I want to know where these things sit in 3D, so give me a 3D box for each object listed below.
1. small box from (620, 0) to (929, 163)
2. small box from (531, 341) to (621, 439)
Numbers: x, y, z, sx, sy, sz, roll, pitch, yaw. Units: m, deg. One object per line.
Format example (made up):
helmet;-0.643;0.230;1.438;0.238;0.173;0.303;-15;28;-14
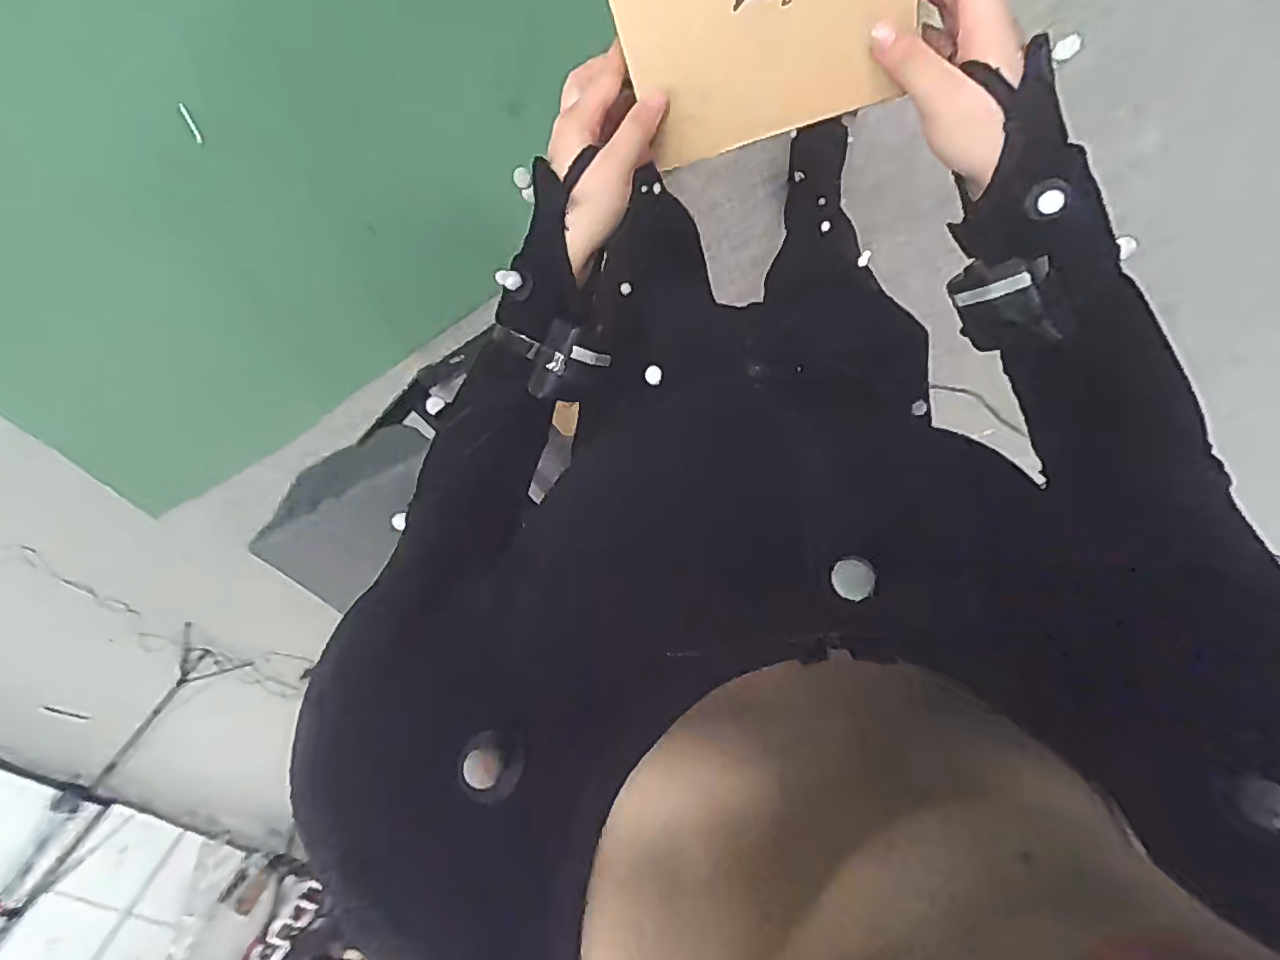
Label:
small box;0.084;-0.349;0.366;0.179;0.176;0.168;-8;134;18
small box;-0.168;-0.251;1.496;0.179;0.176;0.168;-27;121;30
